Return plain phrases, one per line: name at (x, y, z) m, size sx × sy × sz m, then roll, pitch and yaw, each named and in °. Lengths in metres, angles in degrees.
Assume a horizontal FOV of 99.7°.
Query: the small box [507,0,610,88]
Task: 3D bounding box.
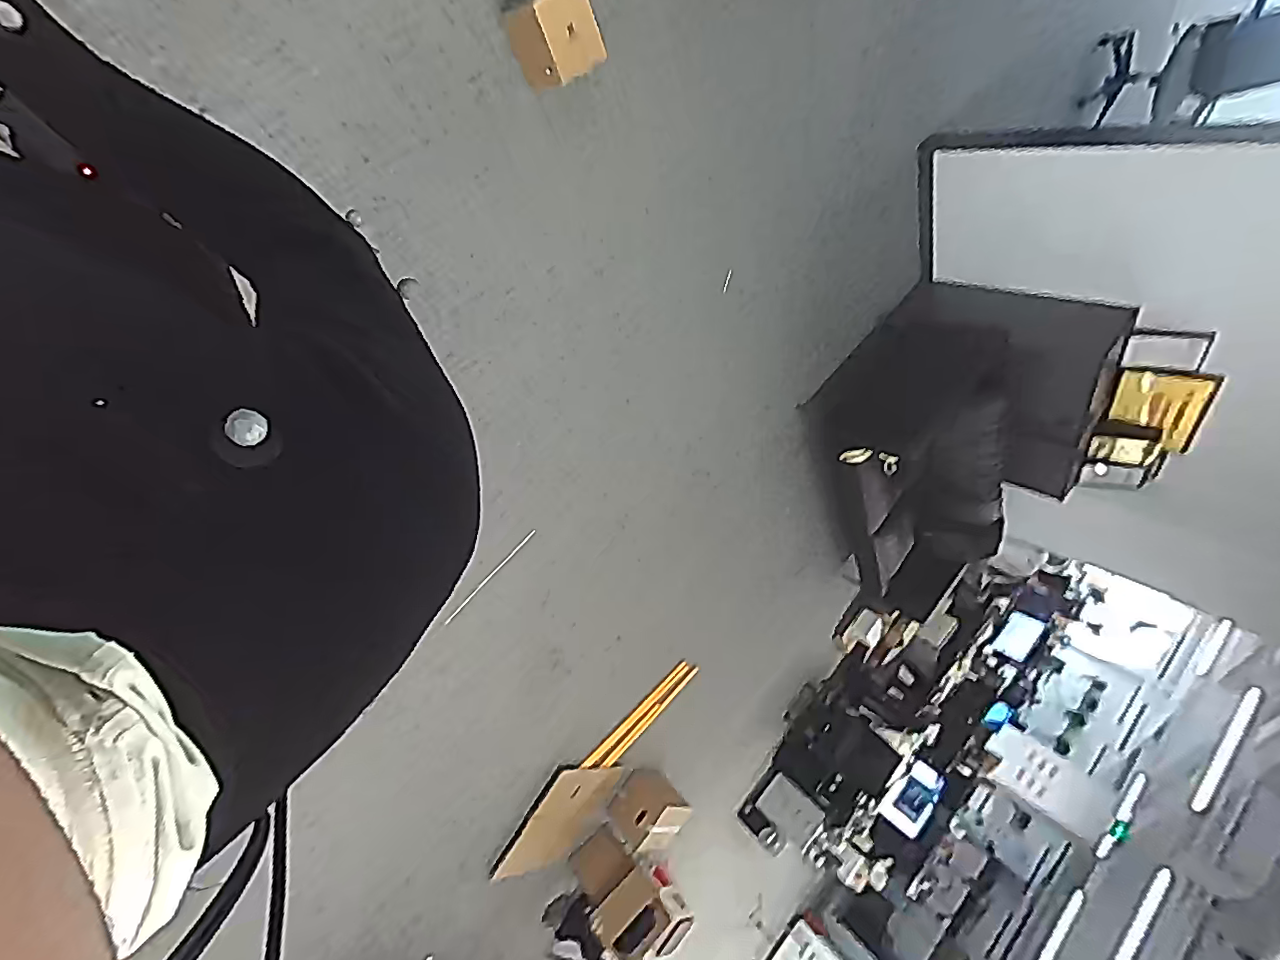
small box at (-0.216, -1.162, 1.410) m, size 0.168 × 0.176 × 0.179 m, roll -45°, pitch 137°, yaw -15°
